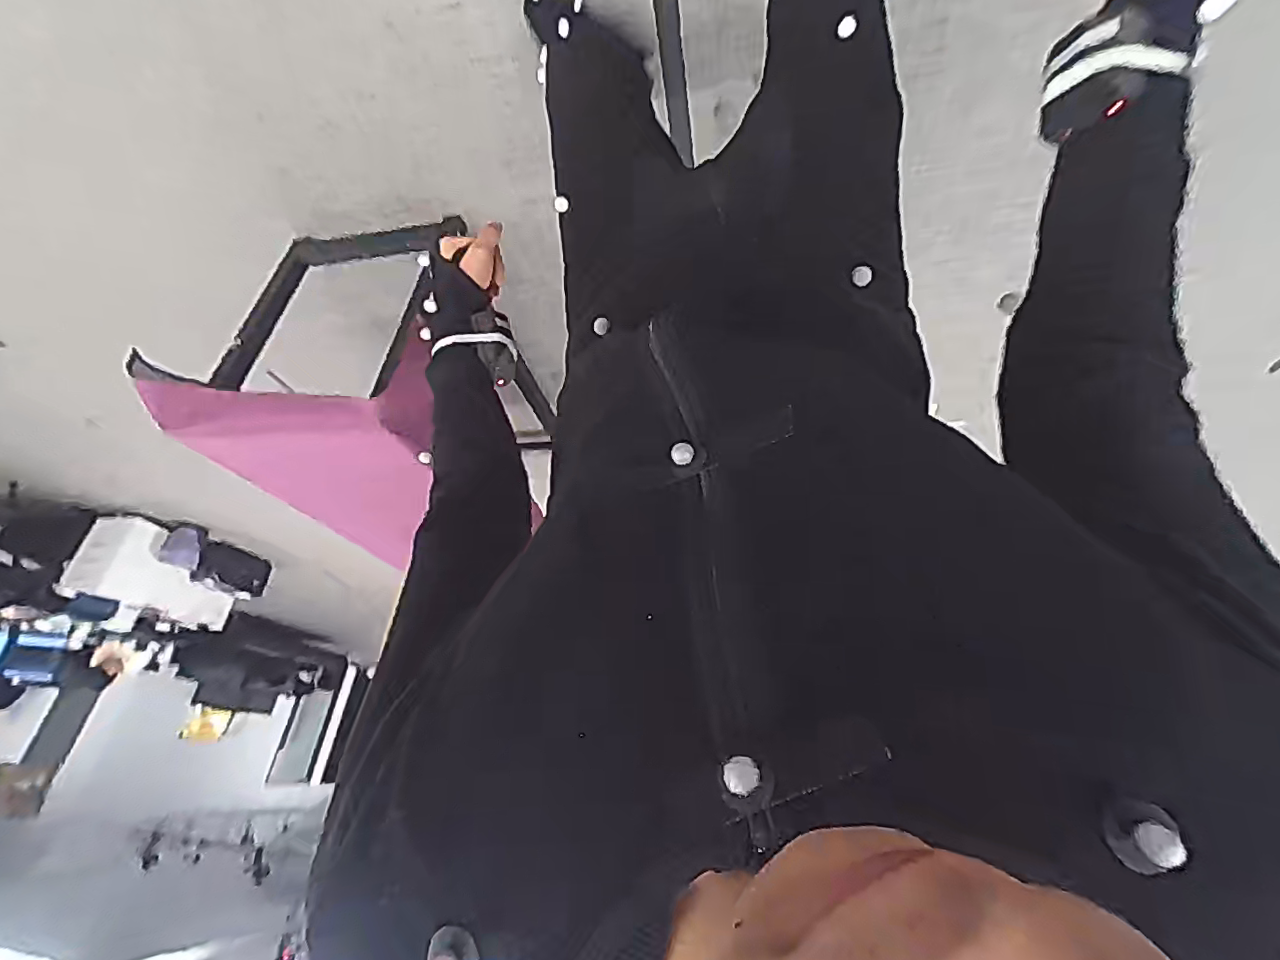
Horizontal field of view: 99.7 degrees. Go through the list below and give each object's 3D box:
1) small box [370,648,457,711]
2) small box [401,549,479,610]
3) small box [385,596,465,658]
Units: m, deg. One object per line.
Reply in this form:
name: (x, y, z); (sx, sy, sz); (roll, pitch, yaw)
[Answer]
small box: (-0.721, 0.640, 1.743); (0.179, 0.176, 0.168); (-6, 149, 20)
small box: (-0.691, 0.346, 1.885); (0.179, 0.176, 0.168); (-1, 151, 13)
small box: (-0.706, 0.490, 1.808); (0.179, 0.176, 0.168); (-3, 150, 17)
